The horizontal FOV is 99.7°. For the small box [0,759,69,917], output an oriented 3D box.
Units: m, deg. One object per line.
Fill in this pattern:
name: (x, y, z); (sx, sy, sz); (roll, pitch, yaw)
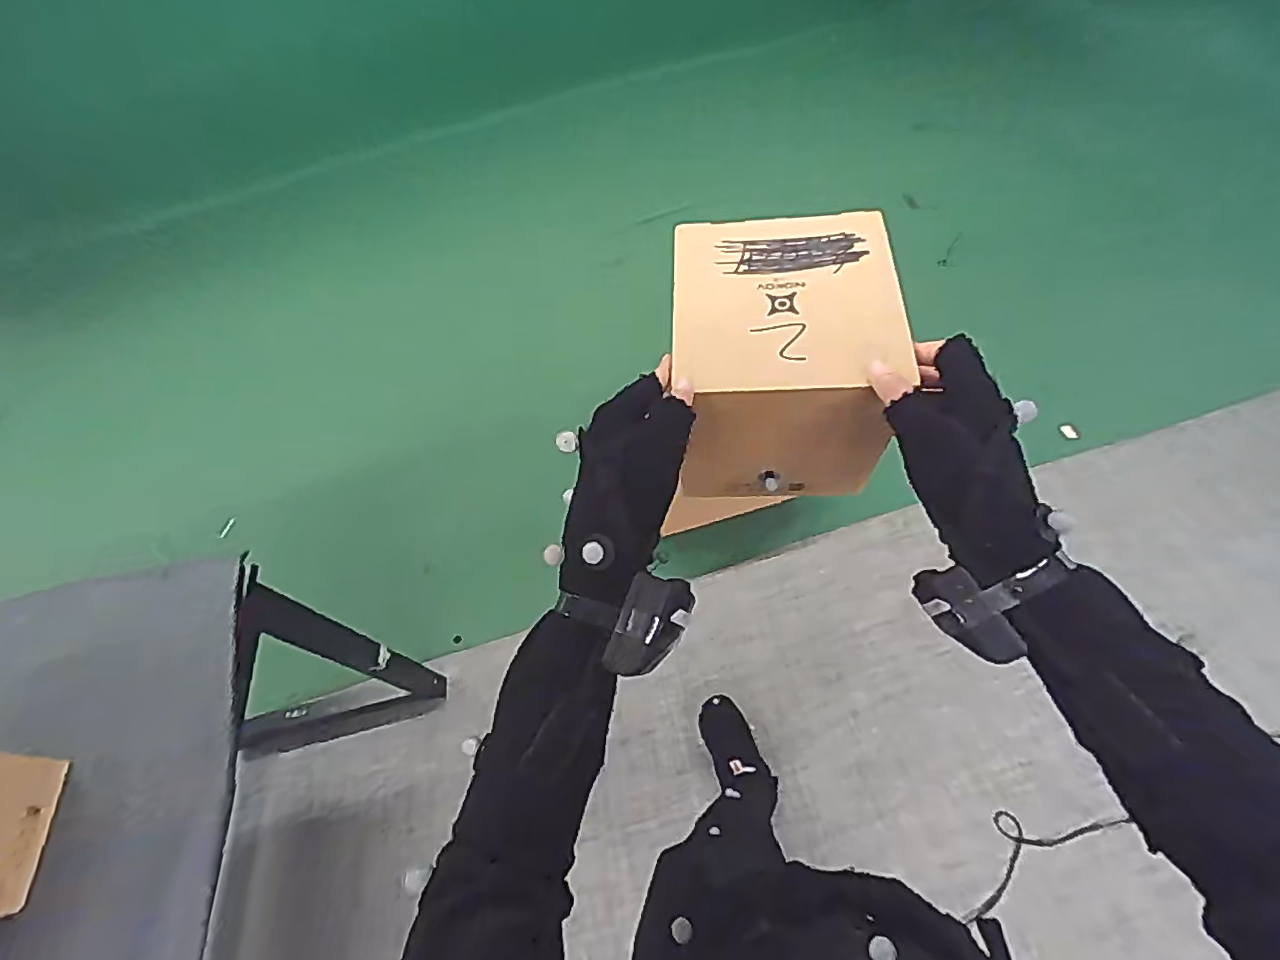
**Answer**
small box: (-0.842, 0.429, 0.625); (0.179, 0.176, 0.168); (-16, 56, 0)
